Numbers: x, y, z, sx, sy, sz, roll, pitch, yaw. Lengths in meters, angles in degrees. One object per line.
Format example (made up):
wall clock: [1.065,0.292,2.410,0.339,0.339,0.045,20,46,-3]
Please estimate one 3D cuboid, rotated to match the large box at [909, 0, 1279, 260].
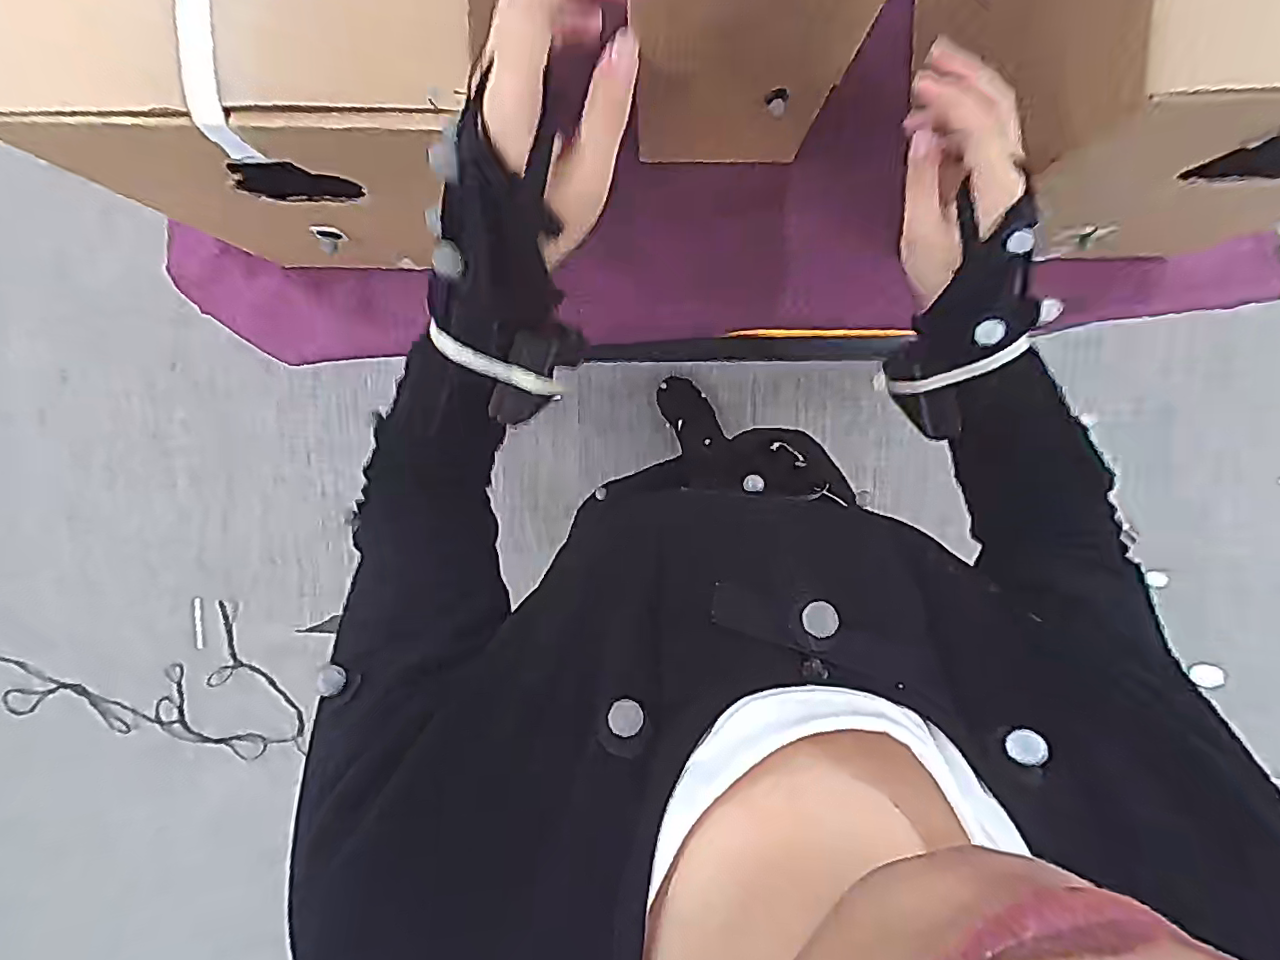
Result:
large box: [0.443,-0.437,0.442,0.320,0.320,0.408,-1,94,1]
